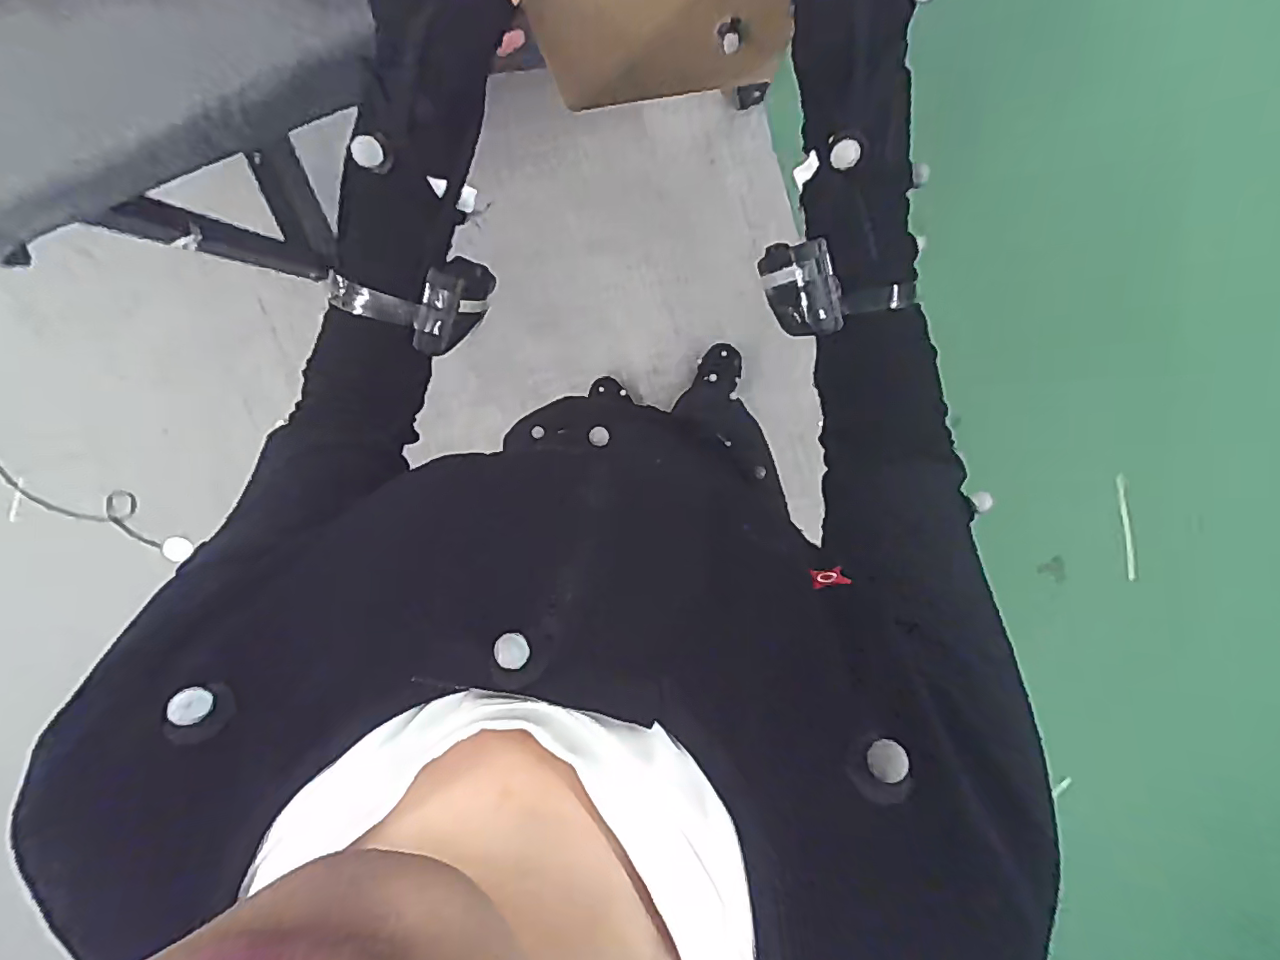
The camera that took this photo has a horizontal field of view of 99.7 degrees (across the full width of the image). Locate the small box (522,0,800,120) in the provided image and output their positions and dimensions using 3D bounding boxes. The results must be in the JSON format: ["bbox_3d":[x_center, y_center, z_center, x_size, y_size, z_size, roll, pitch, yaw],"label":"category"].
[{"bbox_3d":[0.014,-0.379,0.366,0.179,0.176,0.168,-6,100,7],"label":"small box"}]
